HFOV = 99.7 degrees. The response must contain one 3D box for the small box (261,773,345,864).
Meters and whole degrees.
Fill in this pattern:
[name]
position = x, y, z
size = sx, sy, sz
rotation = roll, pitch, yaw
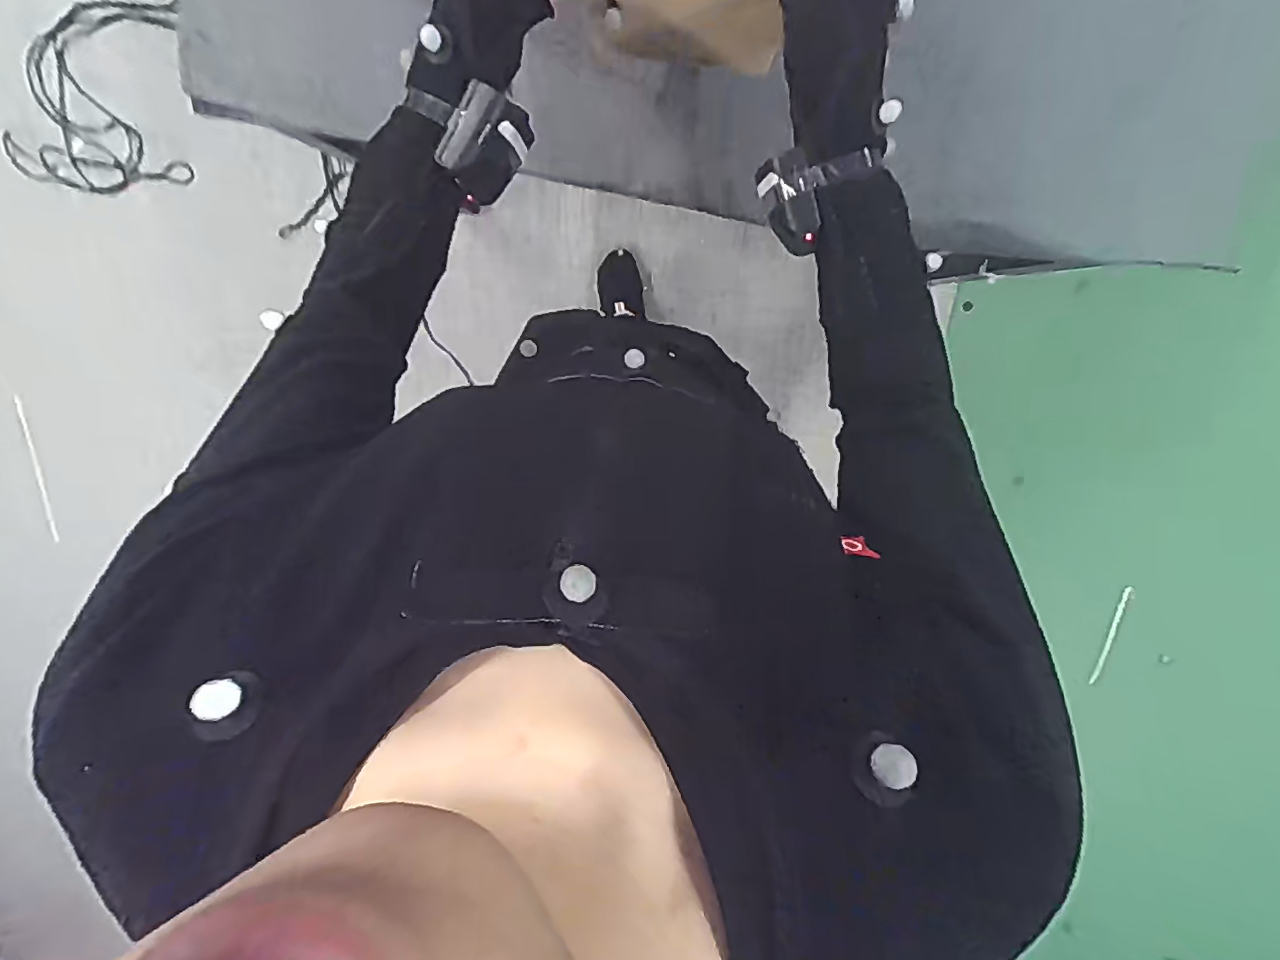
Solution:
[small box]
position = -1.092, 1.103, 1.769
size = 0.168, 0.176, 0.179
rotation = 6, 107, 3
